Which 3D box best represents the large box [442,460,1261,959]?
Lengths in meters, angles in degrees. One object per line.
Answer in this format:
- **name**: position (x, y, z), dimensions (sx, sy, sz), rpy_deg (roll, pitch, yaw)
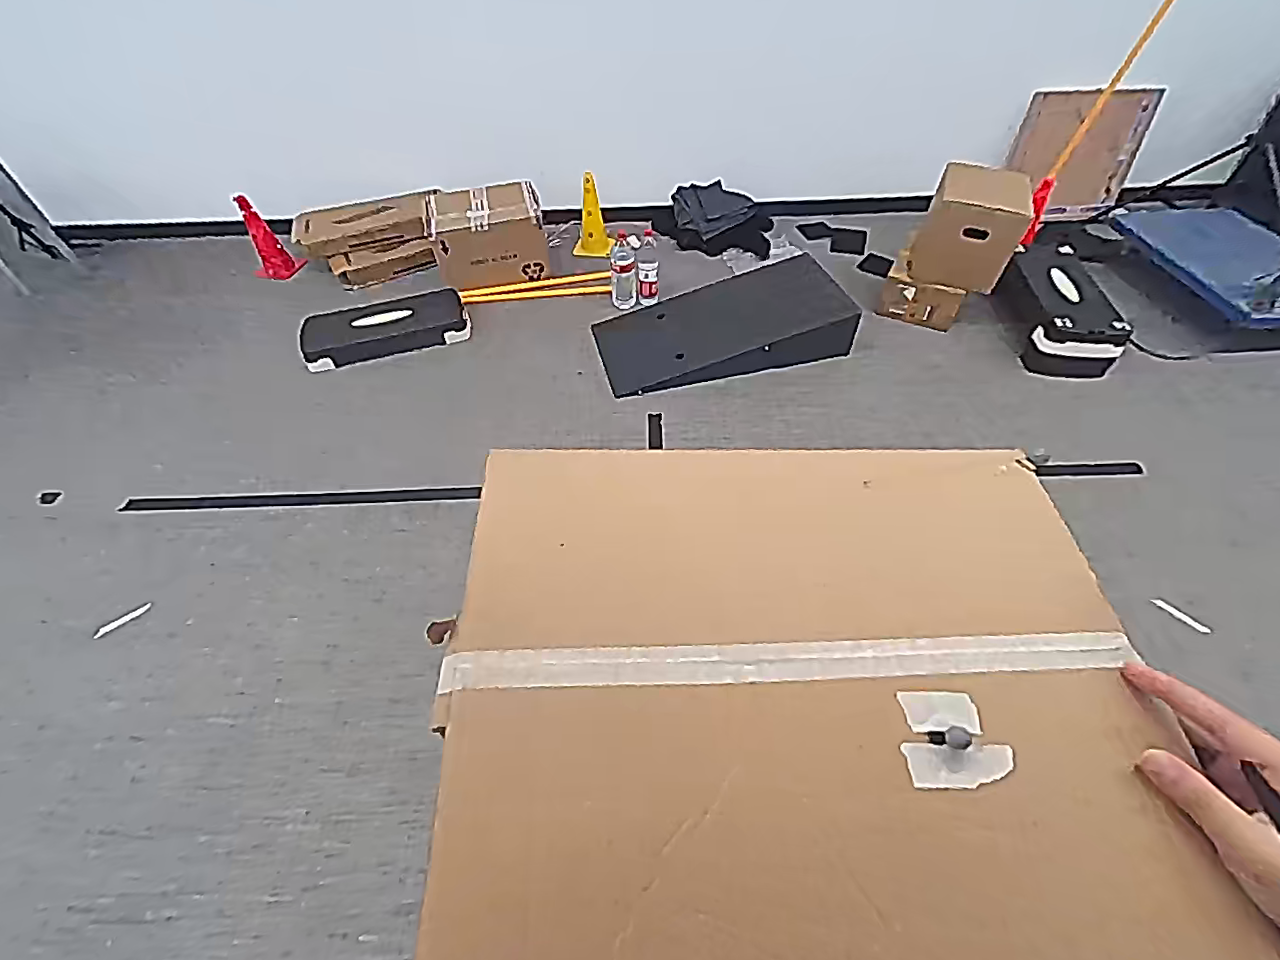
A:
- **large box**: position (0.088, 0.197, 0.451), dimensions (0.408, 0.320, 0.320), rpy_deg (0, 56, -5)
